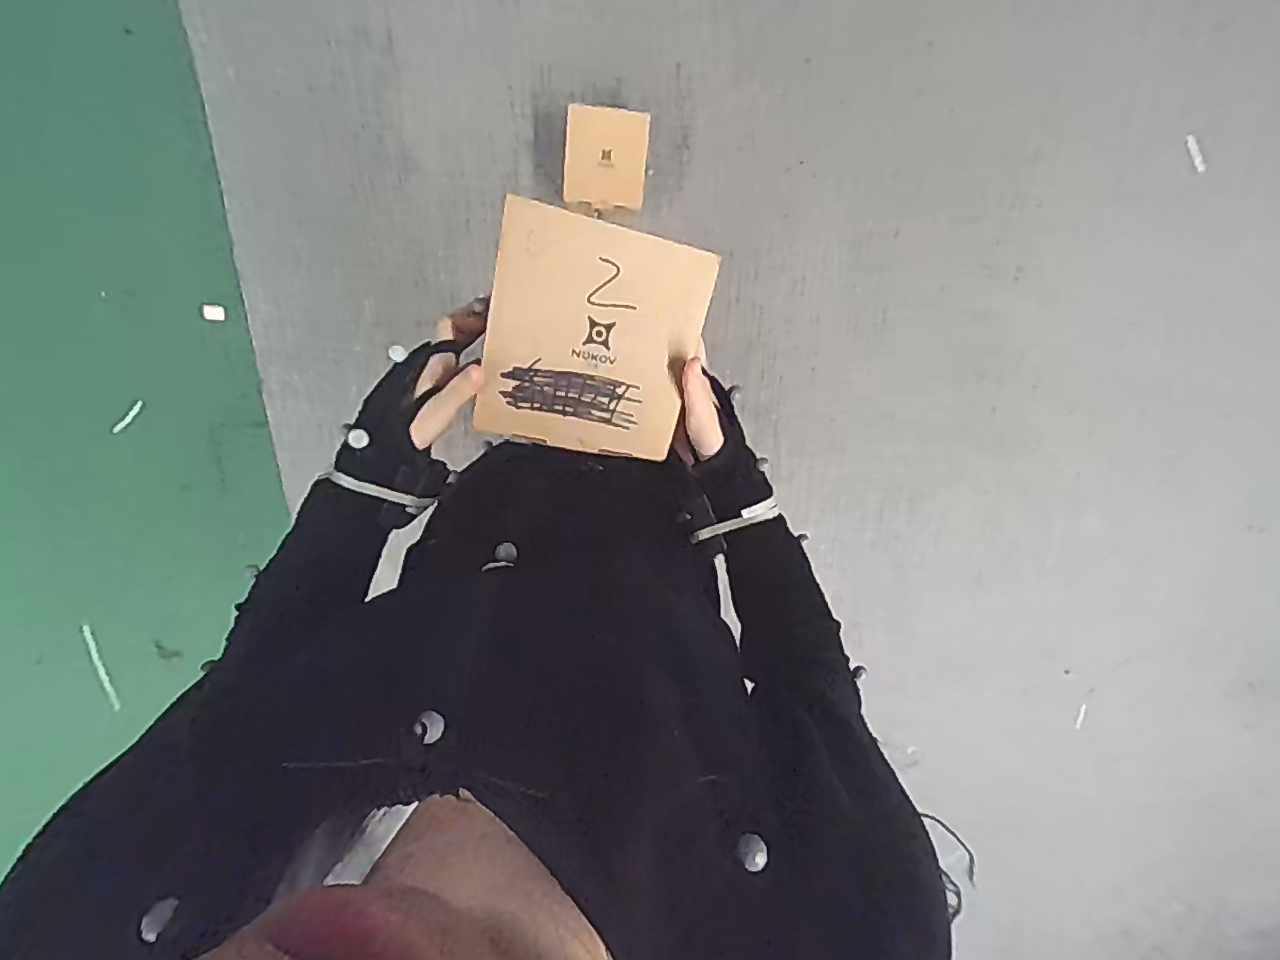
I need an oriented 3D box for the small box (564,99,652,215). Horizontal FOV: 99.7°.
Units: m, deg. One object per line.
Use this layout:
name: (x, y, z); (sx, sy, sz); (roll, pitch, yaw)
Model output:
small box: (-0.073, -0.687, 1.170); (0.168, 0.176, 0.179); (5, 111, -6)
